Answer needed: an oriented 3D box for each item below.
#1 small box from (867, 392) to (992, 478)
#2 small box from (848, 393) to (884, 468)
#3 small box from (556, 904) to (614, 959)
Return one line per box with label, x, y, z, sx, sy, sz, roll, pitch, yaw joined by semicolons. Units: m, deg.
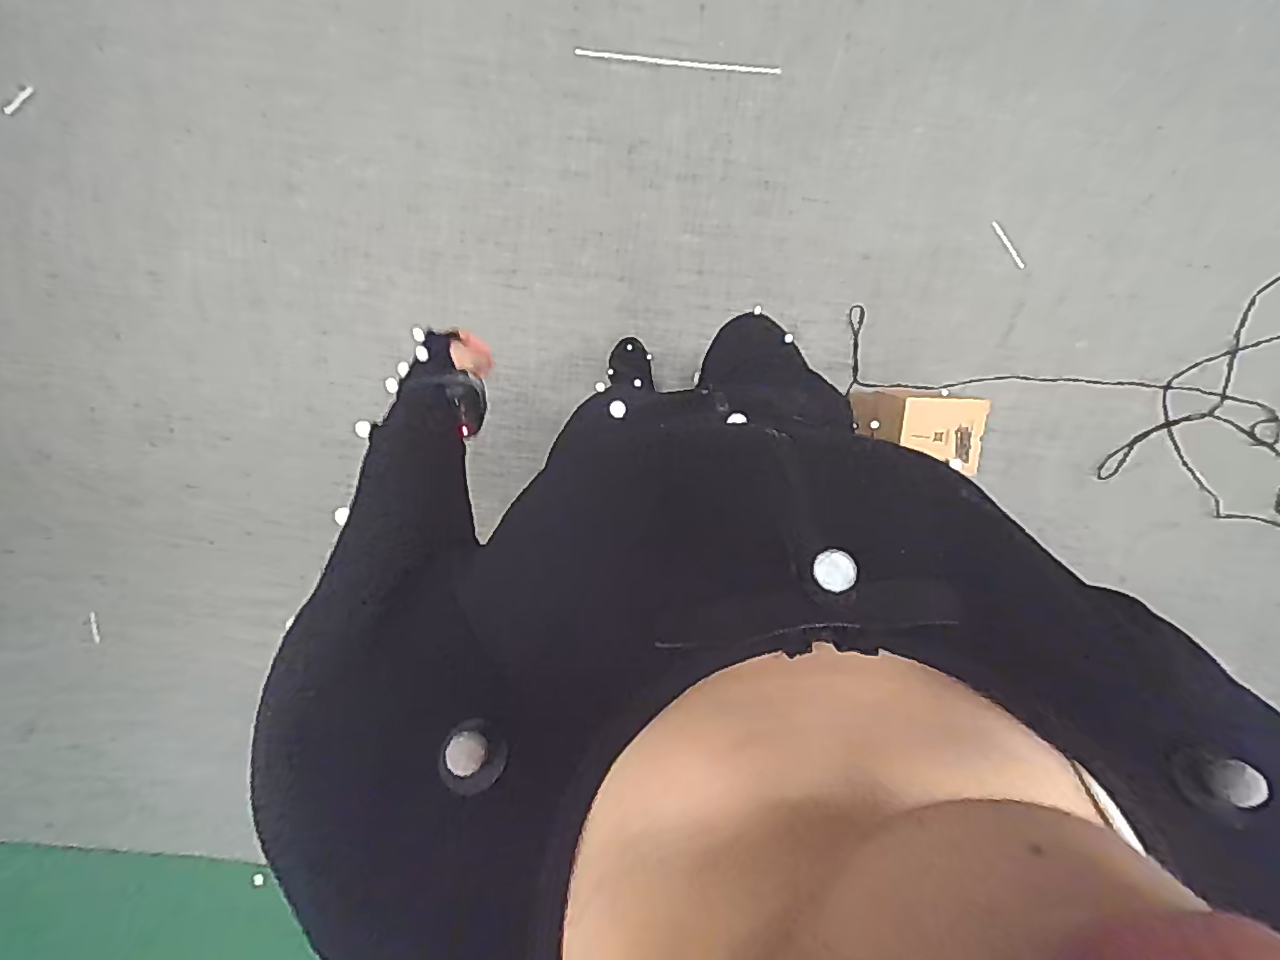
small box;0.631;-0.106;1.197;0.179;0.176;0.168;2;104;2
small box;0.638;-0.128;1.360;0.179;0.176;0.168;-2;104;1
small box;-0.176;1.515;1.734;0.168;0.176;0.179;4;103;2
